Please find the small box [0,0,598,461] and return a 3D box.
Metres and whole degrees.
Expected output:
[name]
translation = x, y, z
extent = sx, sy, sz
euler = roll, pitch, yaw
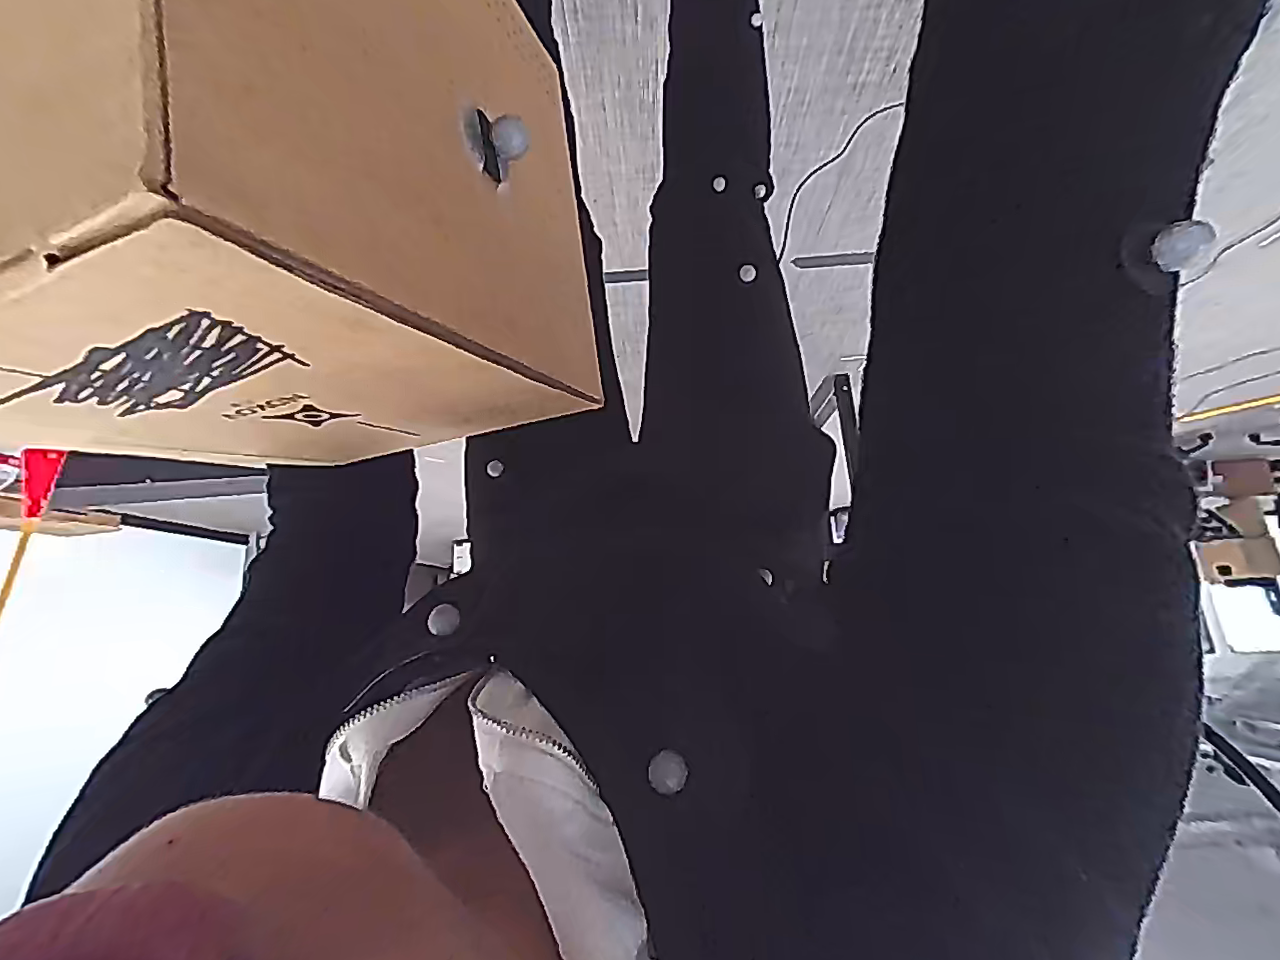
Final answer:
[small box]
translation = -0.132, -0.110, 0.198
extent = 0.168, 0.176, 0.179
euler = -10, 175, 18
